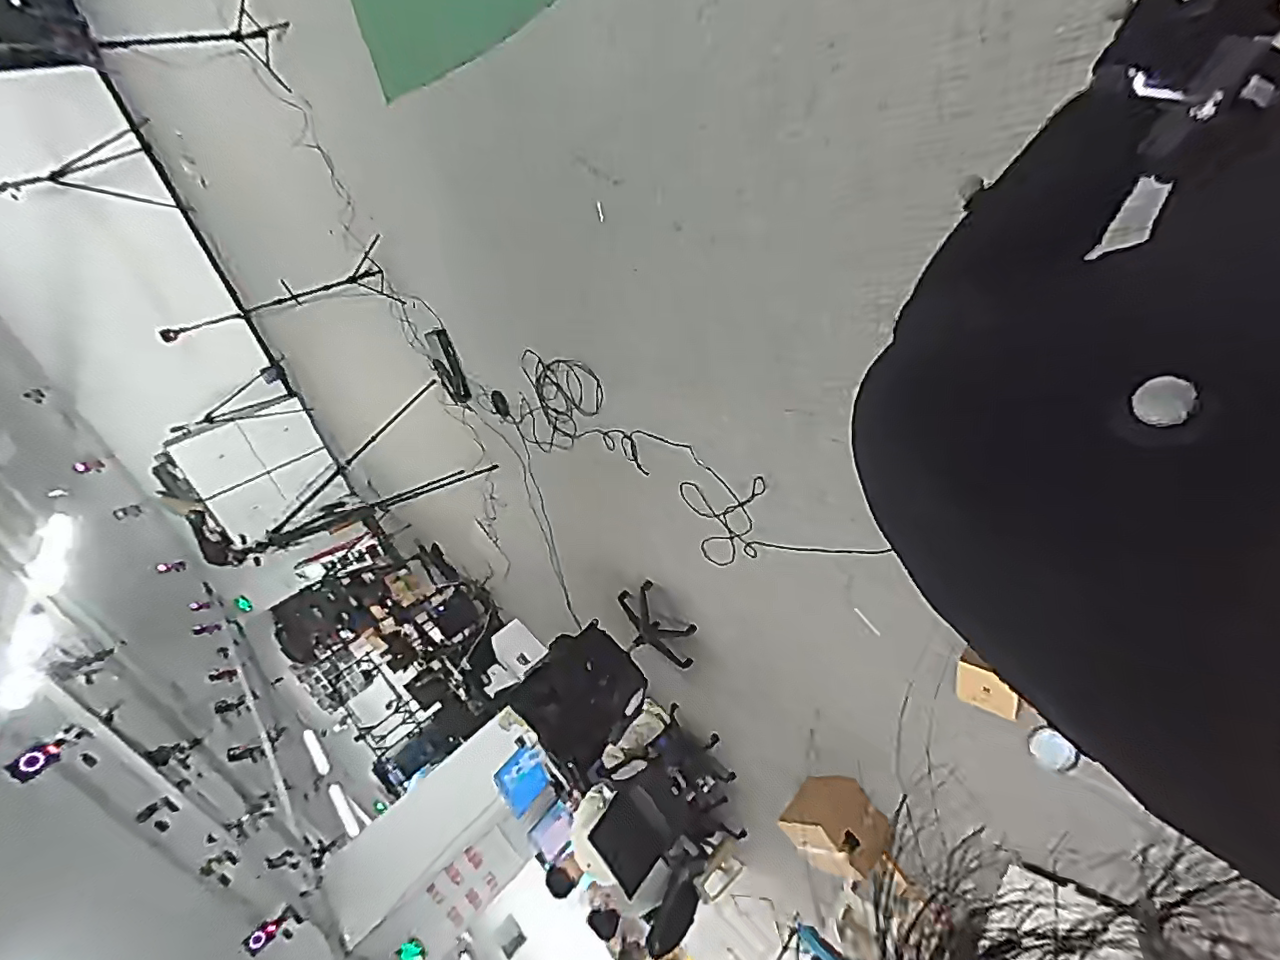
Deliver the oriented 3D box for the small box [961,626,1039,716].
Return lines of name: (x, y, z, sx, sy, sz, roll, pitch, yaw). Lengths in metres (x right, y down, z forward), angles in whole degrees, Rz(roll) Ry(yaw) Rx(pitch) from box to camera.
small box: (1.137, 0.594, 1.709, 0.168, 0.176, 0.179, 15, 131, 46)
